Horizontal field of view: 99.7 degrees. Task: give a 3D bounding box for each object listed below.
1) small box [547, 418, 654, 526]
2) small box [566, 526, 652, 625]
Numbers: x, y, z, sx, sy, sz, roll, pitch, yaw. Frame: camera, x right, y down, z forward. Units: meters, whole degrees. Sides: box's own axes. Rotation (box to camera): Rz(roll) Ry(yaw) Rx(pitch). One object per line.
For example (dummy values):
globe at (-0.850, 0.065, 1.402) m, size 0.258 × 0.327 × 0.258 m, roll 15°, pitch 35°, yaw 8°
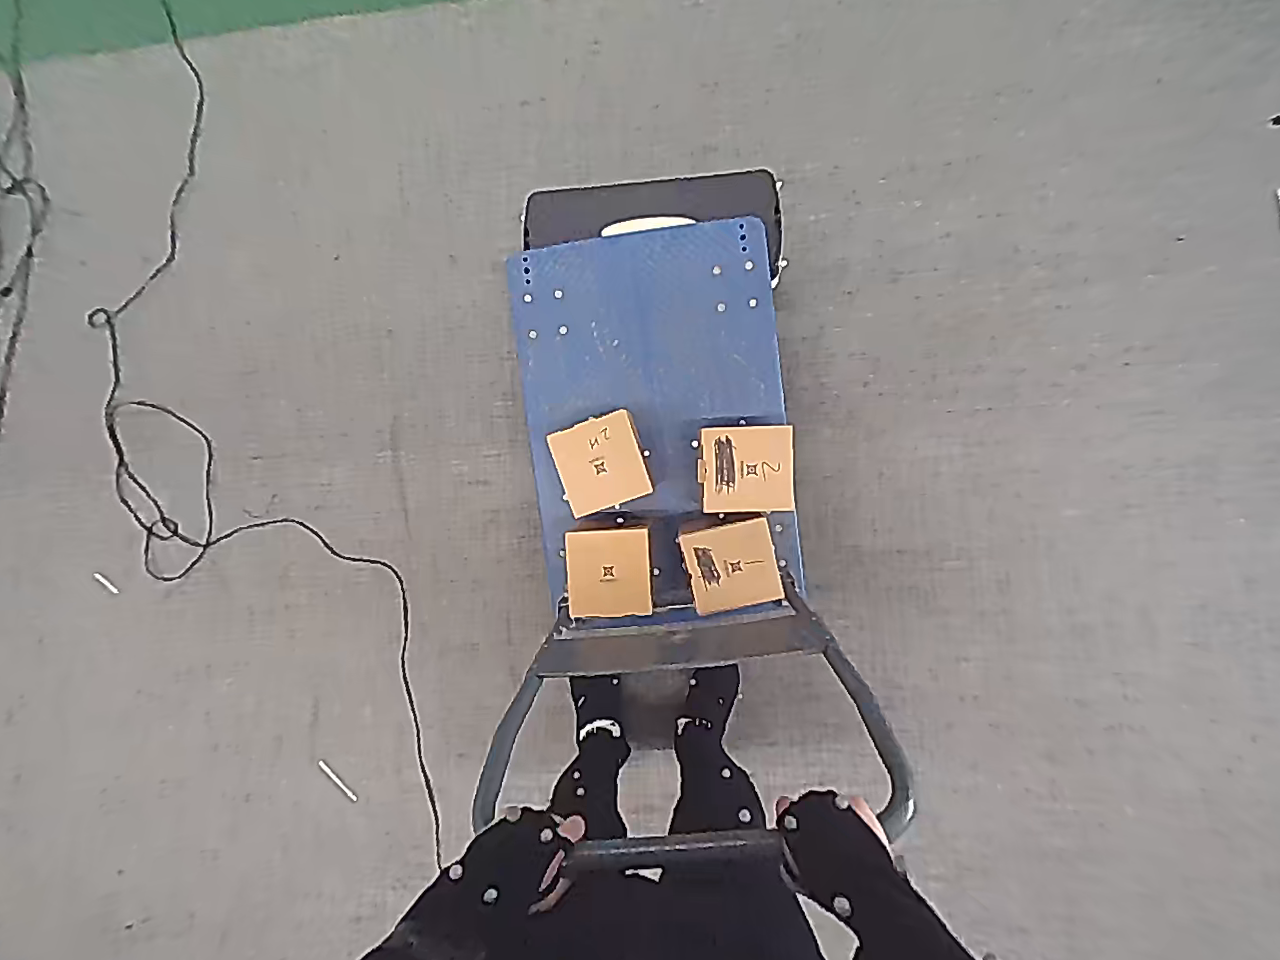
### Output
small box at (-0.073, -0.021, 1.128) m, size 0.168 × 0.176 × 0.179 m, roll -19°, pitch 92°, yaw 4°
small box at (-0.059, 0.193, 1.143) m, size 0.168 × 0.176 × 0.179 m, roll -3°, pitch 94°, yaw 3°
